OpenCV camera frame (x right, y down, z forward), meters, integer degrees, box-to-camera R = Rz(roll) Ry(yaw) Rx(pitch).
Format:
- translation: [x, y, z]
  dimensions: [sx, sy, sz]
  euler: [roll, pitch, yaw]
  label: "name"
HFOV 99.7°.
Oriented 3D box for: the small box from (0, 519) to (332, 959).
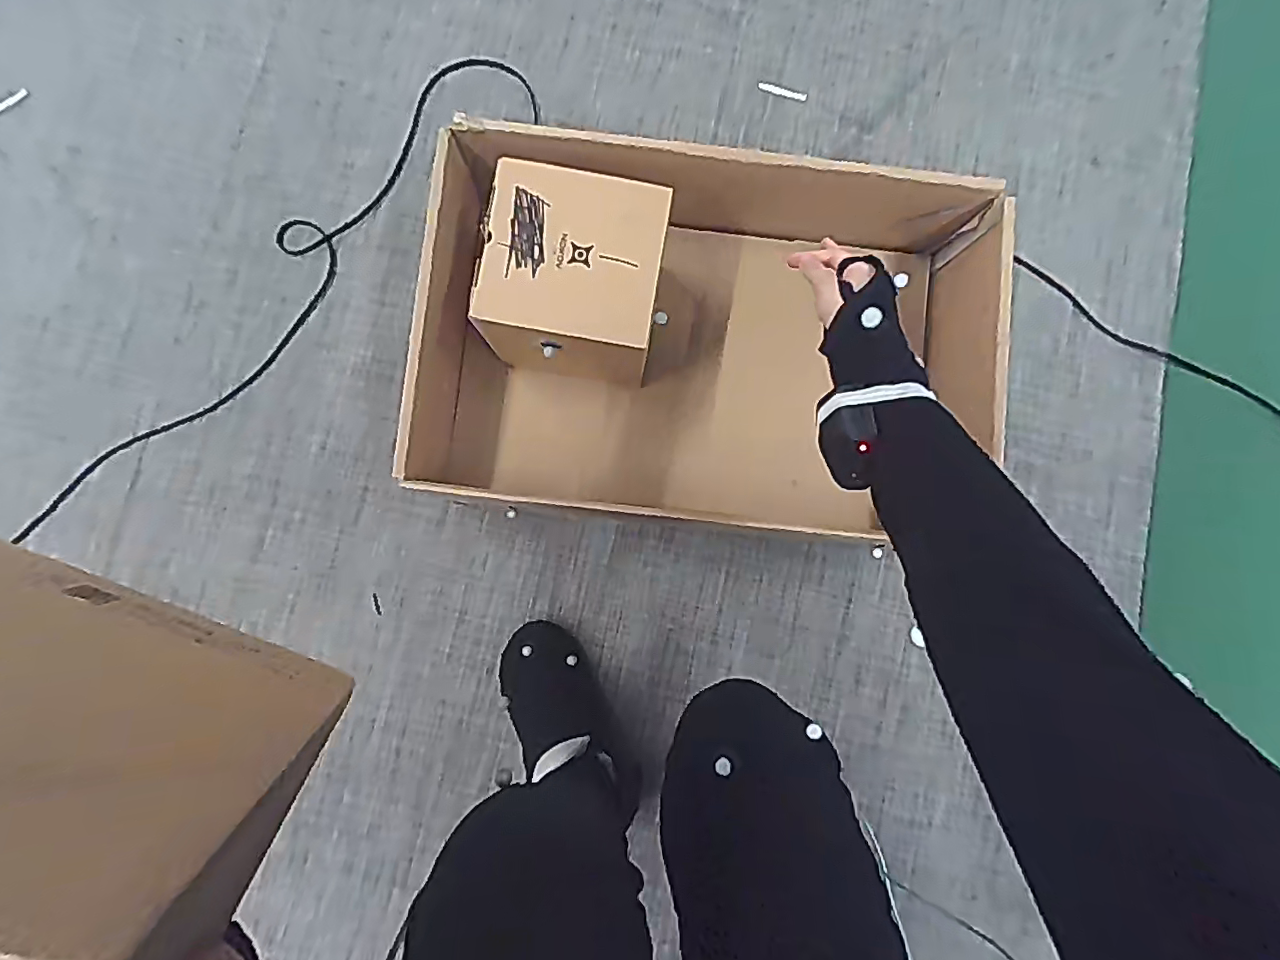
- translation: [-0.217, 0.120, 0.140]
  dimensions: [0.168, 0.176, 0.179]
  euler: [28, 81, -12]
  label: "small box"
